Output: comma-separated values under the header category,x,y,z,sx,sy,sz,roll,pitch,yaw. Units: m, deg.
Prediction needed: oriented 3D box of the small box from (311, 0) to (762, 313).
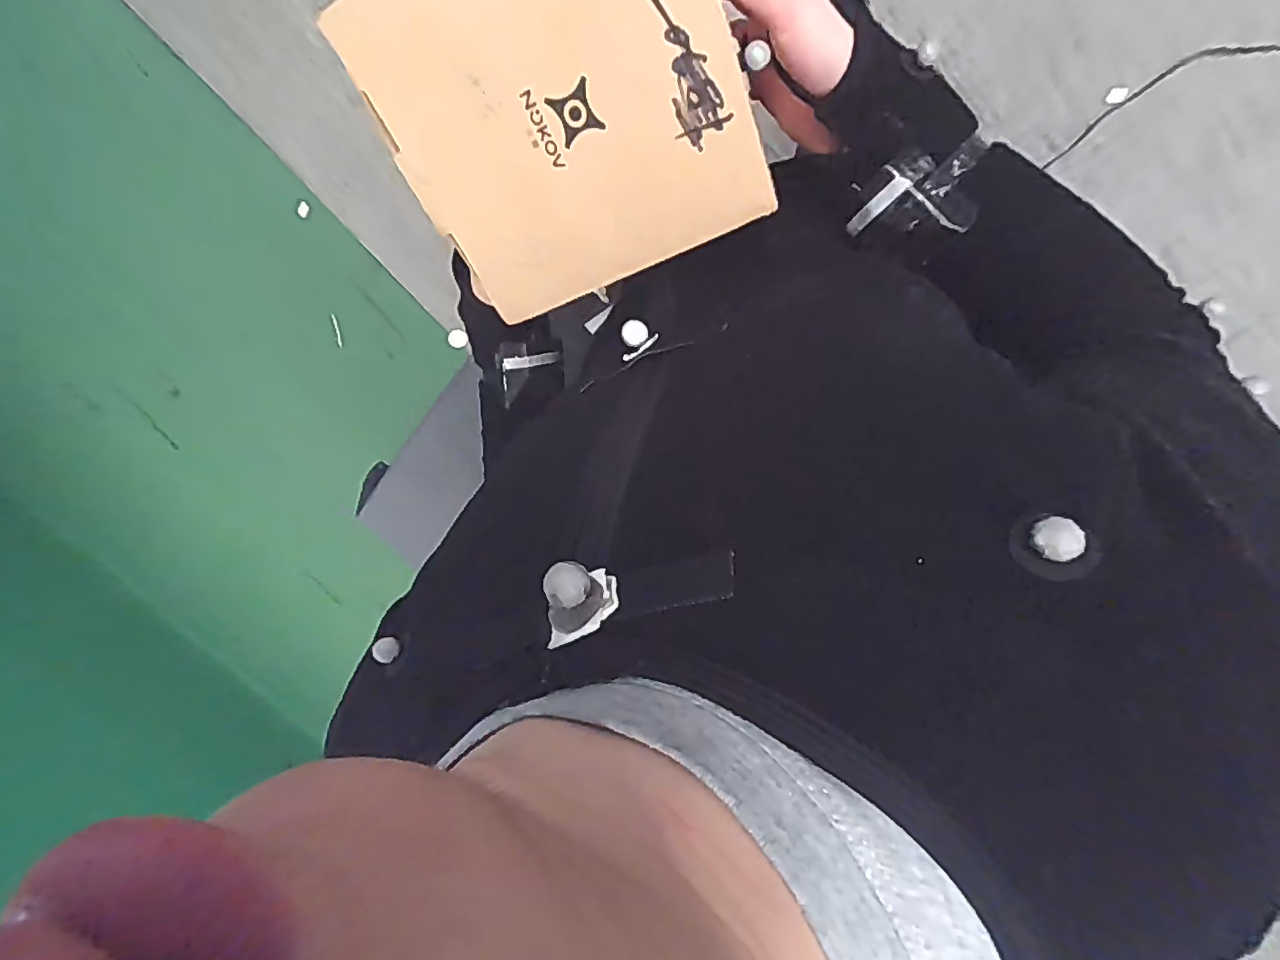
category,x,y,z,sx,sy,sz,roll,pitch,yaw
small box,-0.034,-0.232,0.323,0.179,0.176,0.168,-15,127,20
